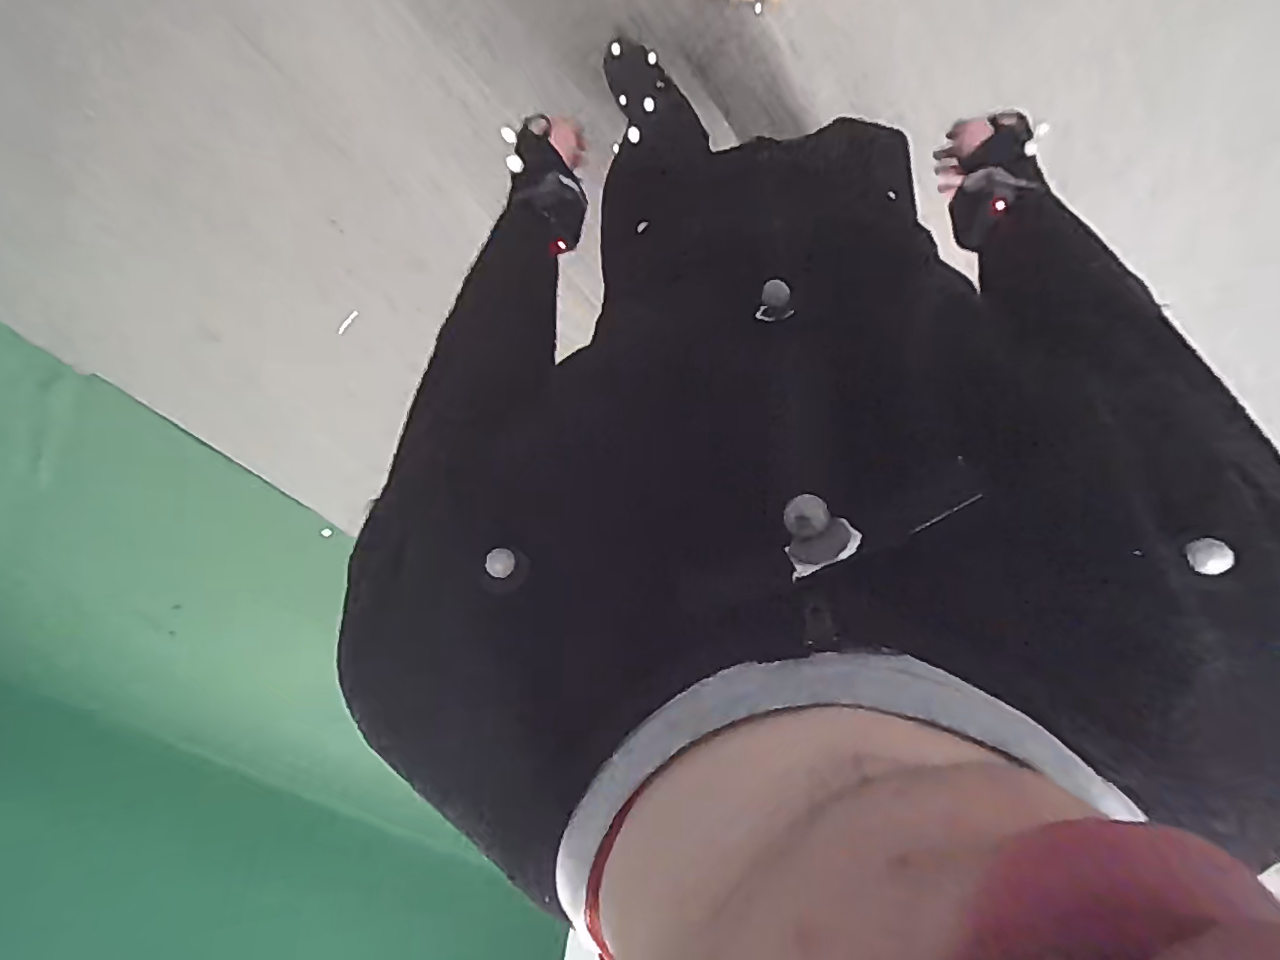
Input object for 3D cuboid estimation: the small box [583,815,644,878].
[{"bbox_3d":[-0.098,1.435,2.118,0.179,0.176,0.168,-30,121,30],"label":"small box"}]
